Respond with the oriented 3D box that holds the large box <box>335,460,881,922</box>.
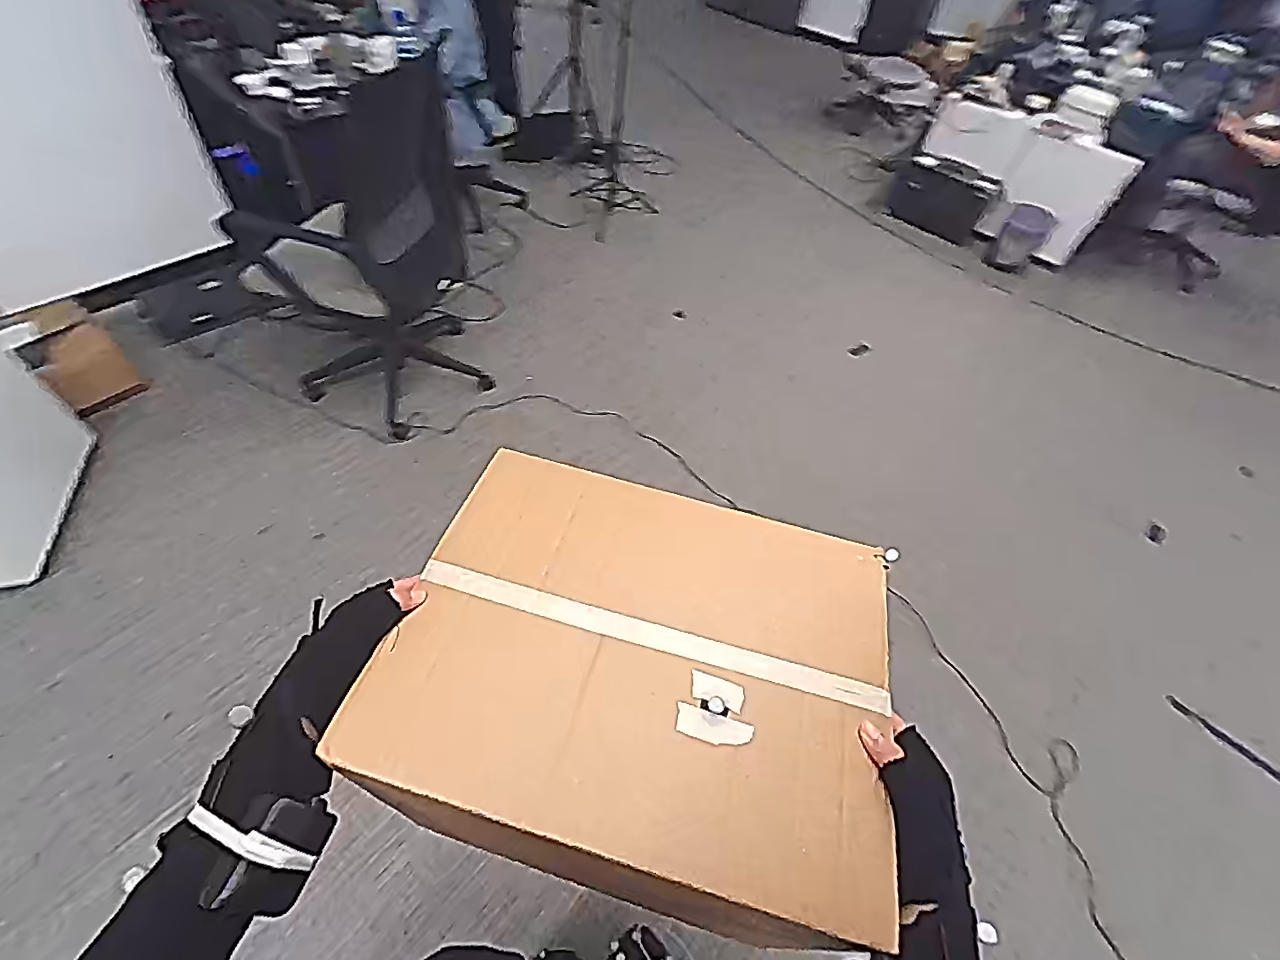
[{"bbox_3d":[-0.013,0.228,0.583,0.408,0.320,0.320,14,51,5],"label":"large box"}]
